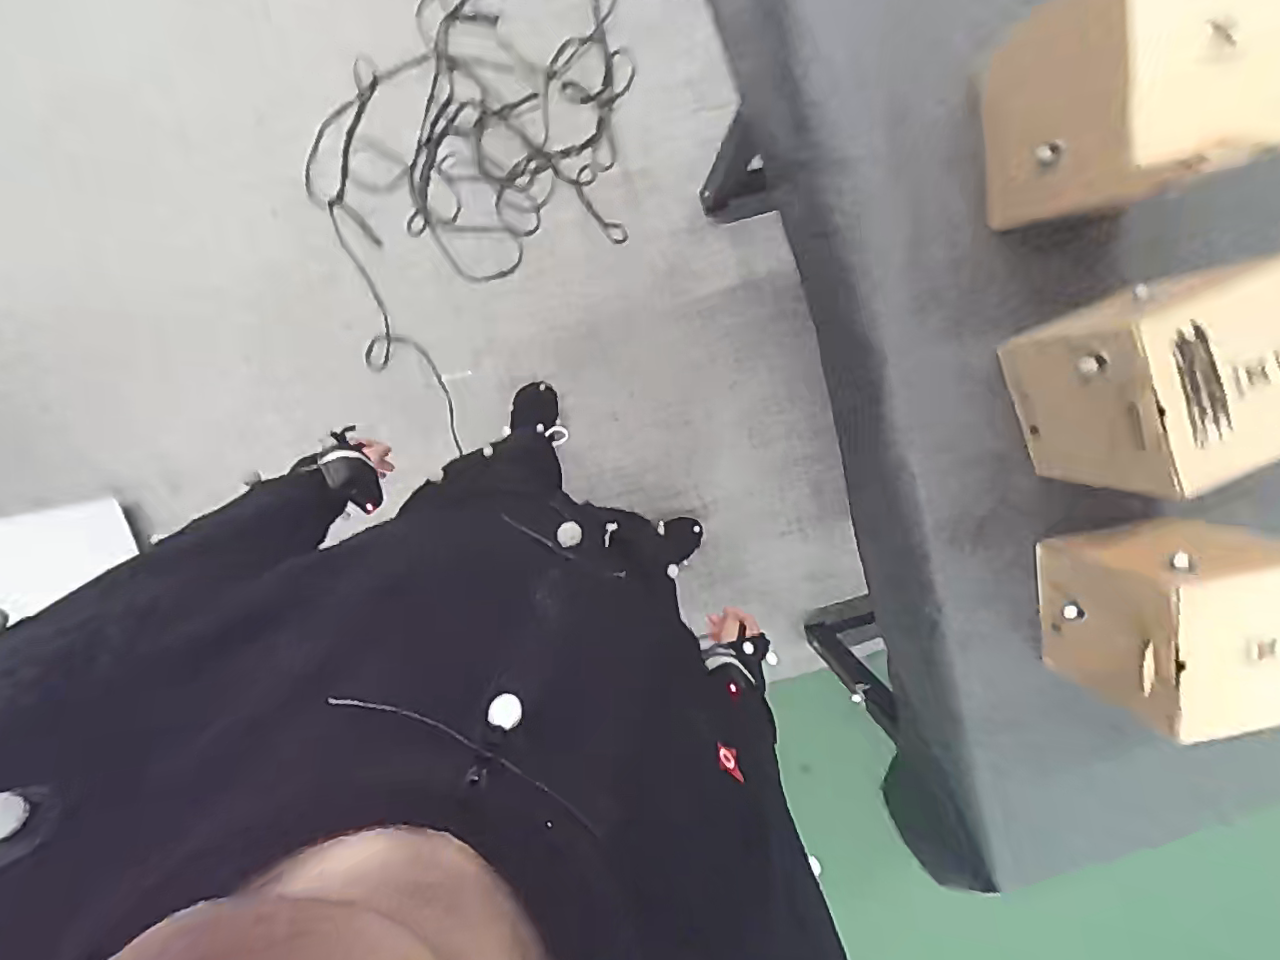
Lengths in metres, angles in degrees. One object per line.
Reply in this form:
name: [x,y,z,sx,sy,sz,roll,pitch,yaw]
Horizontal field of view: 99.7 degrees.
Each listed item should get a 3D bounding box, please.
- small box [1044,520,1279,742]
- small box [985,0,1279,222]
small box: [0.596,0.150,0.598,0.179,0.176,0.168,-11,99,-2]
small box: [0.466,-0.365,0.514,0.168,0.176,0.179,-12,98,-3]
